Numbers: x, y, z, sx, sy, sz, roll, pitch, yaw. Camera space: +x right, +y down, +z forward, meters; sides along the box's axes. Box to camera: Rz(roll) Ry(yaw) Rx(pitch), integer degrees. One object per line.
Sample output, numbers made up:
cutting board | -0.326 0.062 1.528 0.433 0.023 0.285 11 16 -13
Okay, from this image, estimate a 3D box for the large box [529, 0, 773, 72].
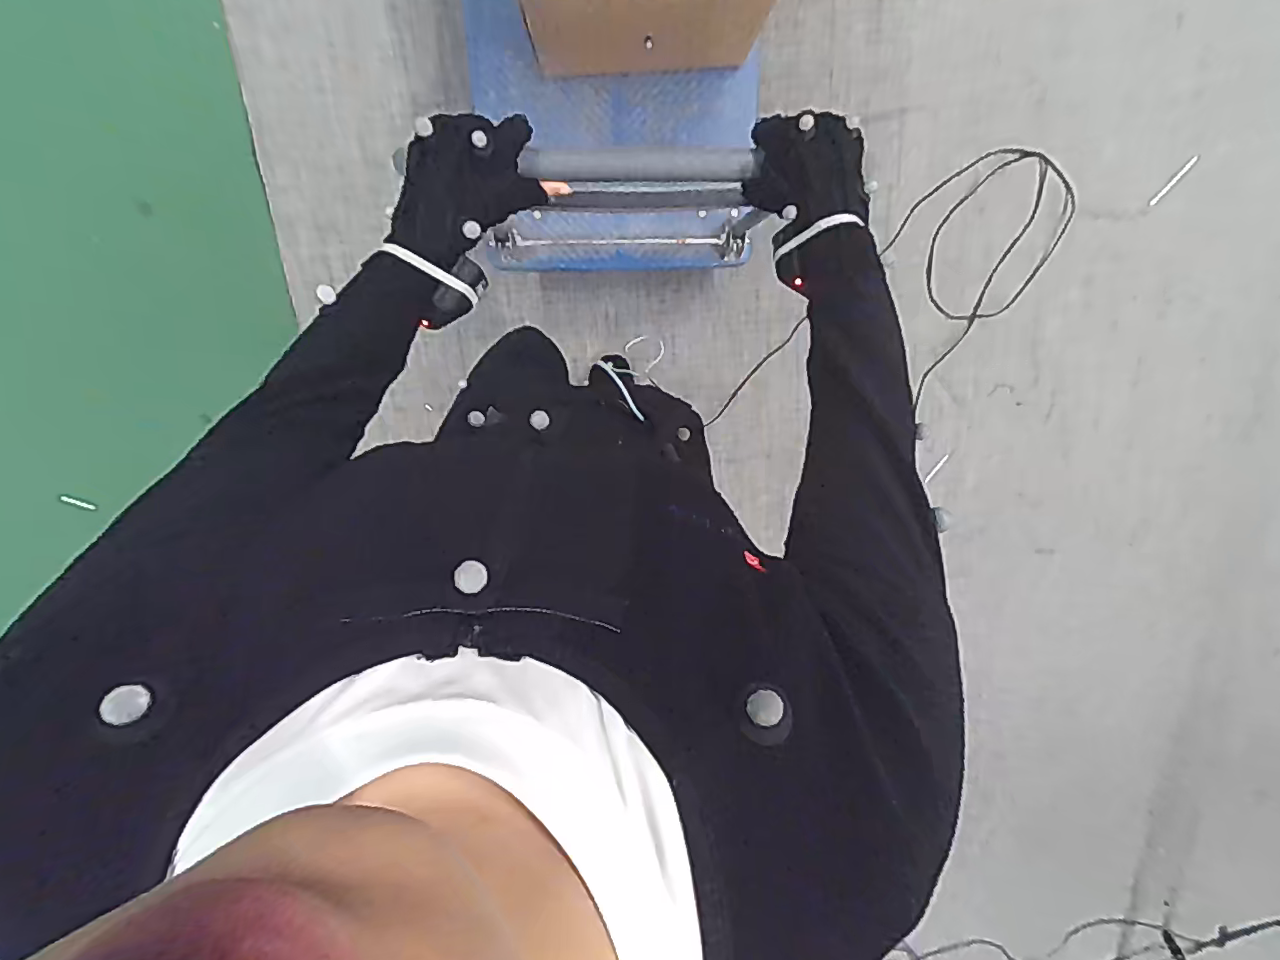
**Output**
large box | 0.010 -0.933 0.899 0.408 0.320 0.320 -5 107 0
